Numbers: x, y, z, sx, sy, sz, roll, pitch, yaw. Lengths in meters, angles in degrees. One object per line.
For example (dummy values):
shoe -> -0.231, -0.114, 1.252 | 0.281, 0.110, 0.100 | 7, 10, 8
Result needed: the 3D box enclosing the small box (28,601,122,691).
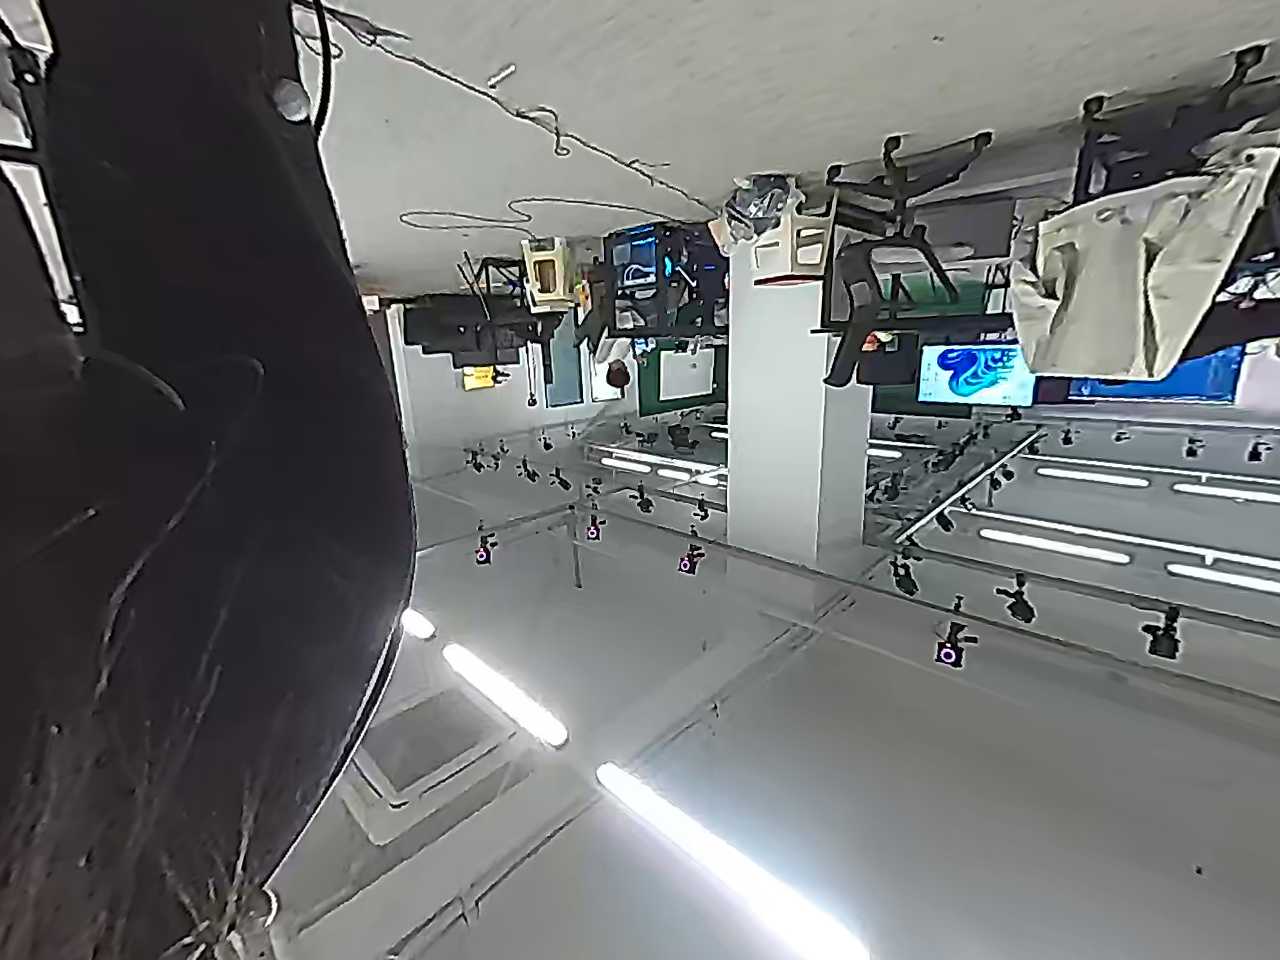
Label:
small box -> -1.691, 0.490, 1.623 | 0.168, 0.176, 0.179 | -14, -159, -41
